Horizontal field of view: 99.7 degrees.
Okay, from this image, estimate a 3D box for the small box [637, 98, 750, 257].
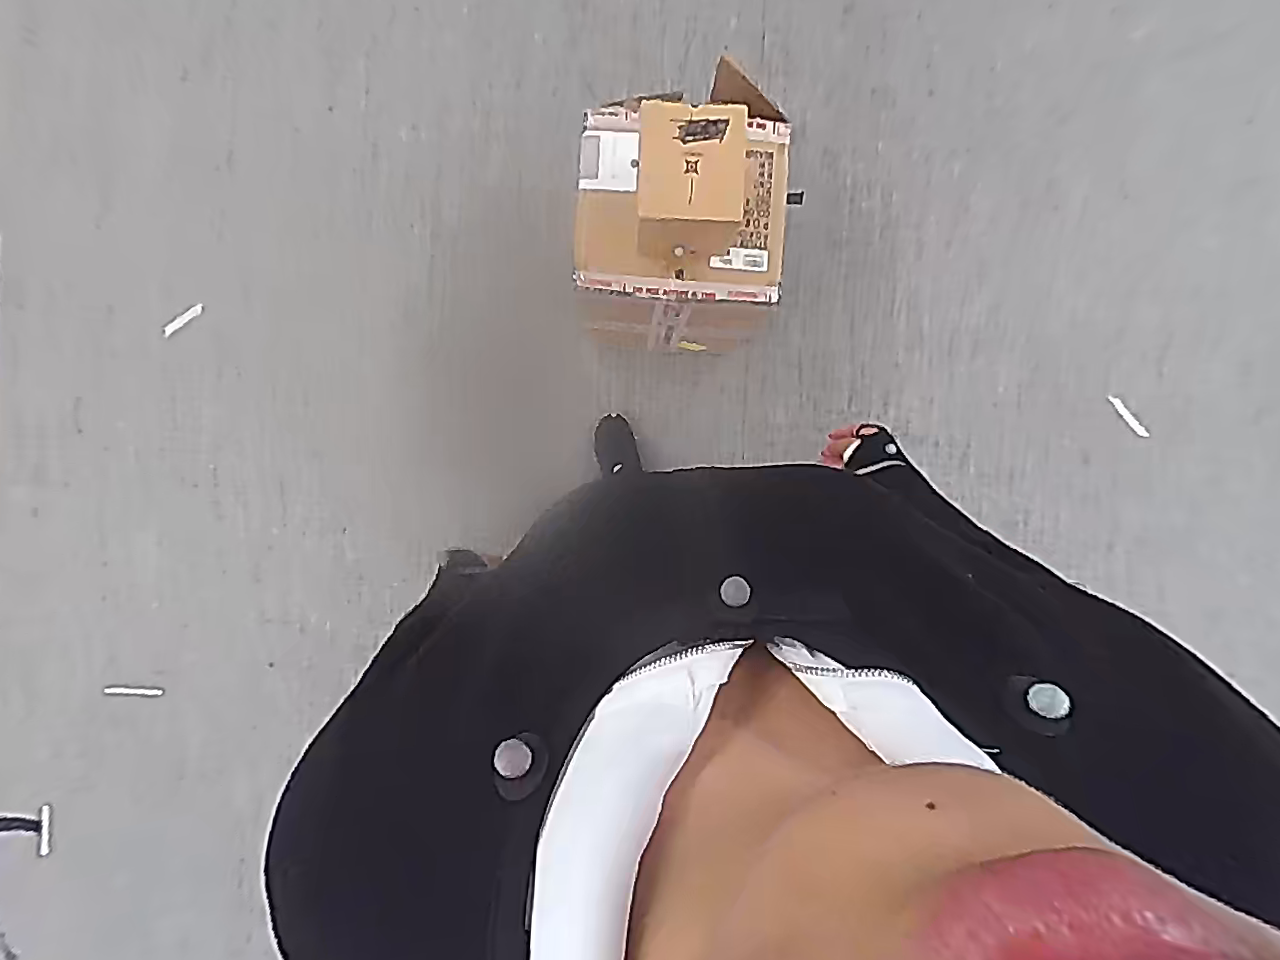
[{"bbox_3d":[0.082,-0.497,0.910,0.168,0.176,0.179,2,95,-1],"label":"small box"}]
